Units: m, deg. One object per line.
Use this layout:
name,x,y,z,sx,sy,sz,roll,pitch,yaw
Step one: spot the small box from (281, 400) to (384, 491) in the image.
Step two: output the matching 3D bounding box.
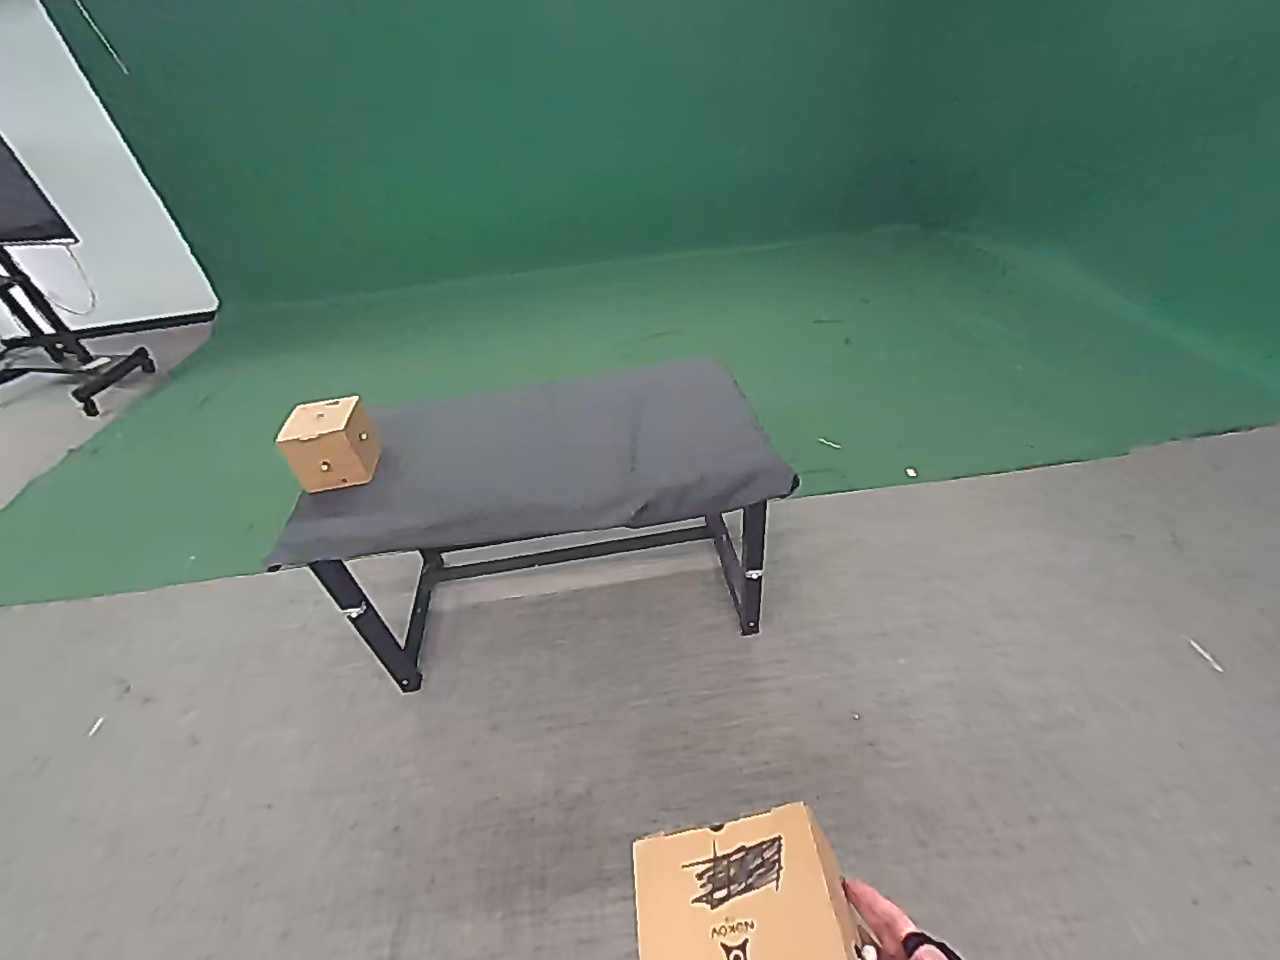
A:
small box,-0.800,-0.086,1.429,0.168,0.176,0.179,-10,40,-5
